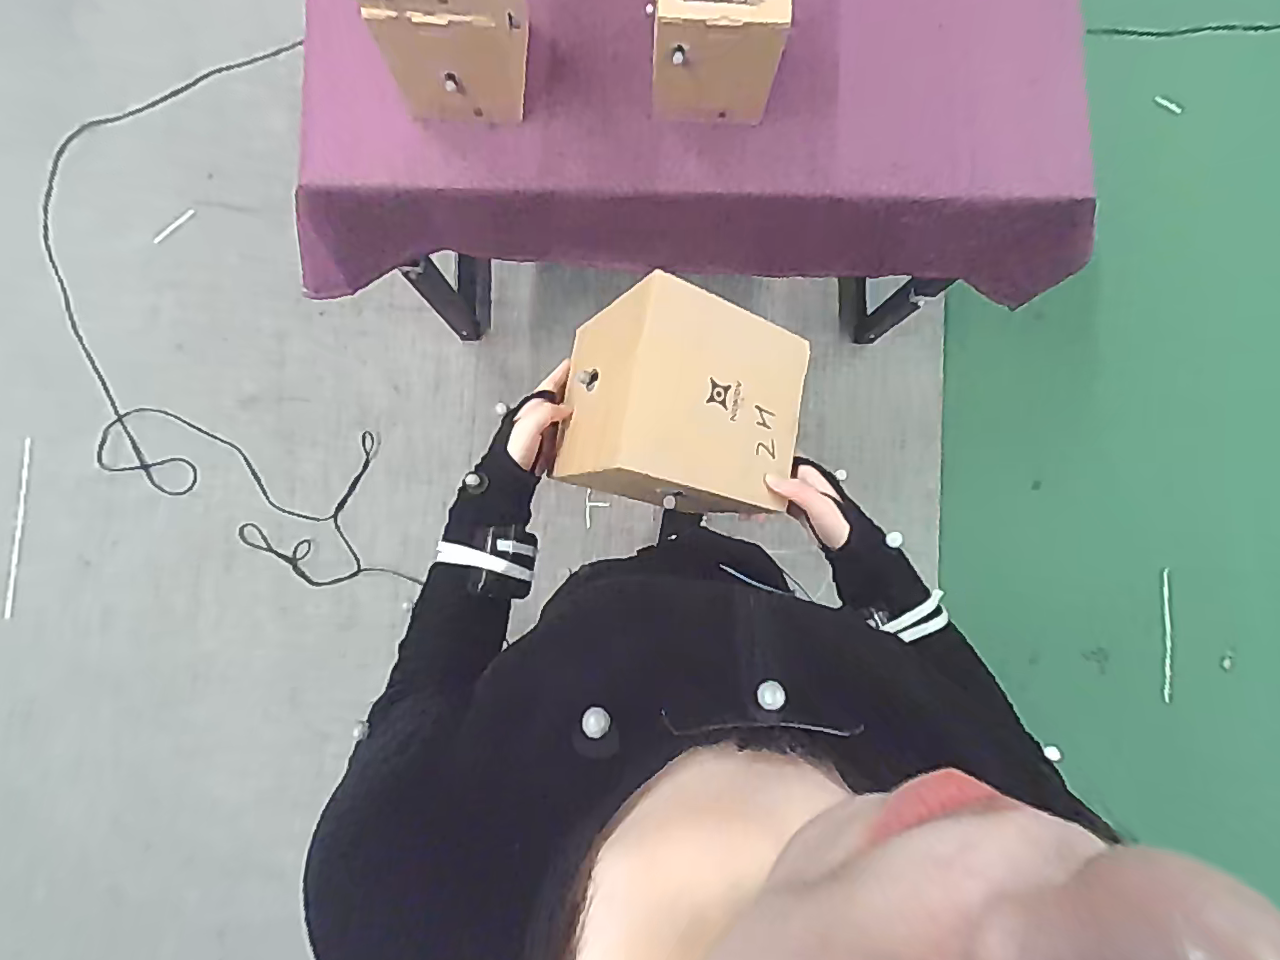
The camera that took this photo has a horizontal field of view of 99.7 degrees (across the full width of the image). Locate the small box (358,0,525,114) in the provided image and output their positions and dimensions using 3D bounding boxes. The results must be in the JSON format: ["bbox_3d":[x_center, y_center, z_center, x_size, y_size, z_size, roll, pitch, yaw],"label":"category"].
[{"bbox_3d":[-0.253,-0.635,0.728,0.168,0.176,0.179,3,86,-3],"label":"small box"}]

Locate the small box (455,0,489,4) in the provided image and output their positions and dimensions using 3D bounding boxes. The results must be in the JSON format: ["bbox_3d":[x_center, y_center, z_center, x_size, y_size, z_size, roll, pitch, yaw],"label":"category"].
[{"bbox_3d":[-0.243,-0.655,0.564,0.168,0.176,0.179,4,85,-2],"label":"small box"}]

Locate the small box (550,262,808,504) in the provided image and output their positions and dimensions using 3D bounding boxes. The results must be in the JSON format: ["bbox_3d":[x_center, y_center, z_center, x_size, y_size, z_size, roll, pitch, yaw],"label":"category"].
[{"bbox_3d":[0.030,-0.074,0.527,0.179,0.176,0.168,16,82,-29],"label":"small box"}]
